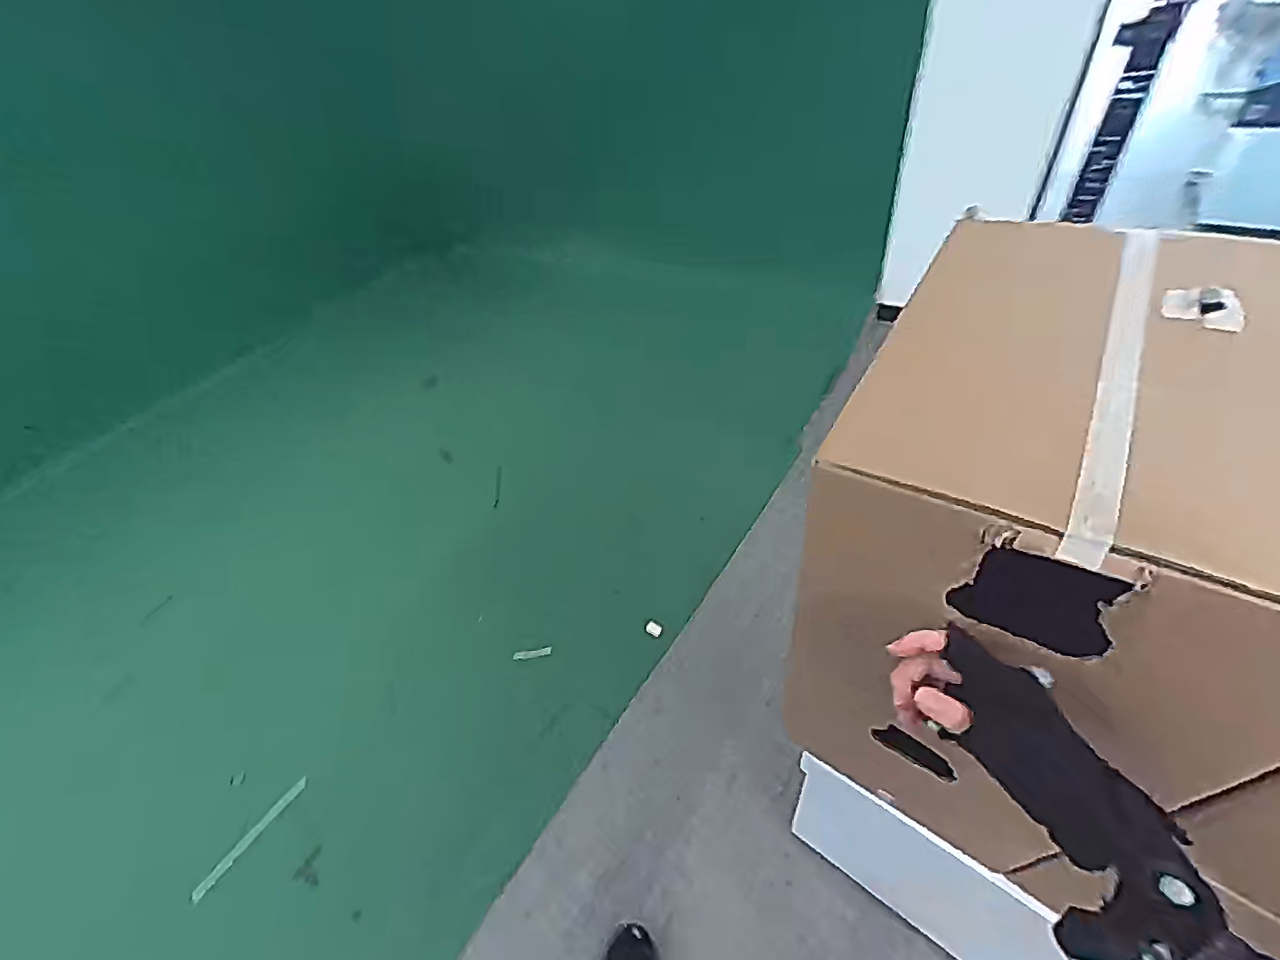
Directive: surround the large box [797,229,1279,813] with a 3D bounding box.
[{"bbox_3d":[0.372,0.006,0.517,0.320,0.320,0.408,21,54,28],"label":"large box"}]
